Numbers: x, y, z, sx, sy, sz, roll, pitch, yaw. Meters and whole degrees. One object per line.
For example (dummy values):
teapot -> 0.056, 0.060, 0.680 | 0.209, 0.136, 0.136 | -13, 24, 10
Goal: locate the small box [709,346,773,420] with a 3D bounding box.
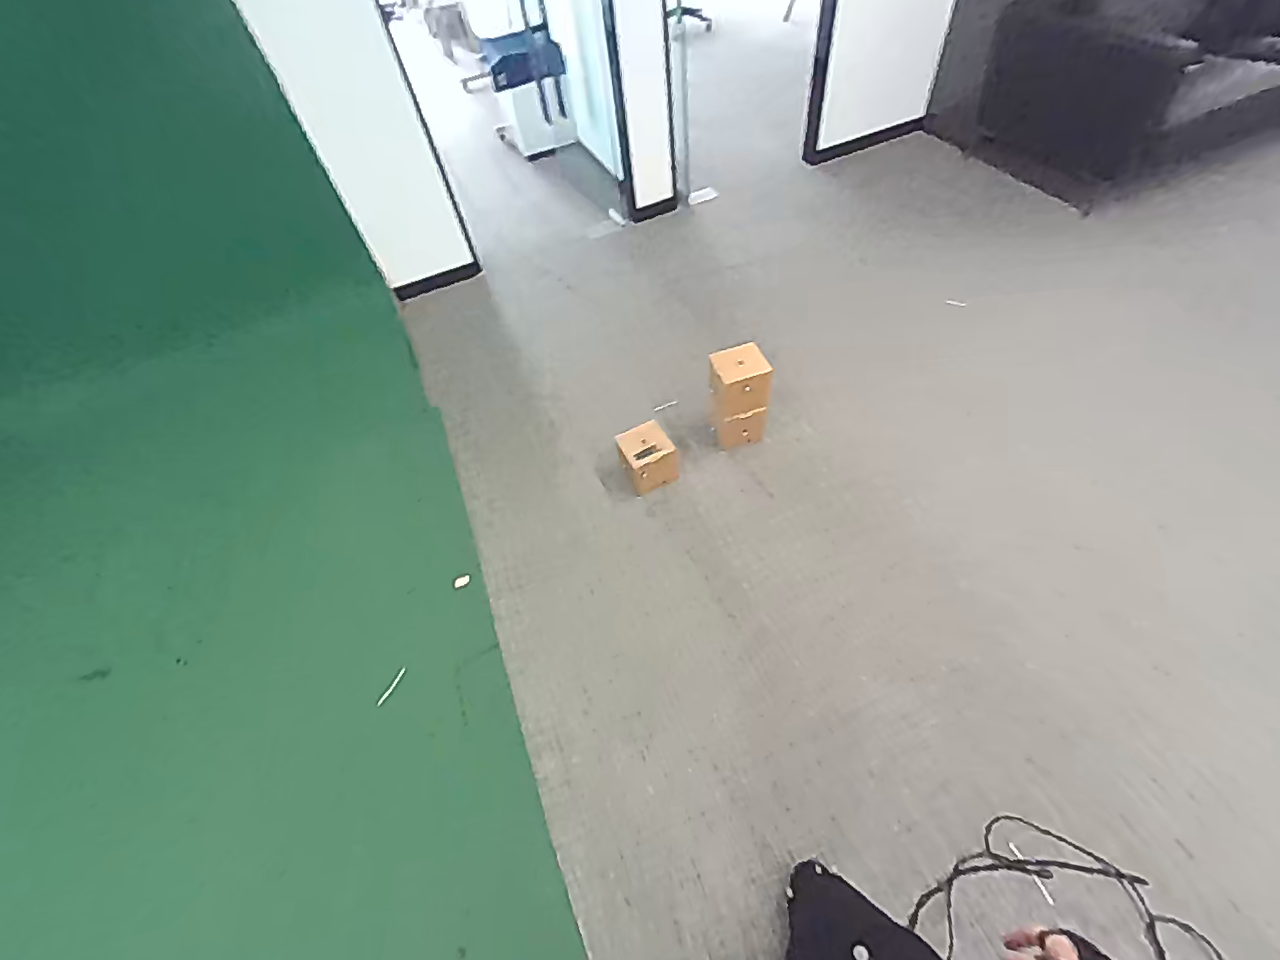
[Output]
small box -> 0.354, -0.344, 1.931 | 0.179, 0.176, 0.168 | -18, 52, -5

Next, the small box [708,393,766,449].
small box -> 0.366, -0.237, 2.053 | 0.168, 0.176, 0.179 | -16, 53, -5
